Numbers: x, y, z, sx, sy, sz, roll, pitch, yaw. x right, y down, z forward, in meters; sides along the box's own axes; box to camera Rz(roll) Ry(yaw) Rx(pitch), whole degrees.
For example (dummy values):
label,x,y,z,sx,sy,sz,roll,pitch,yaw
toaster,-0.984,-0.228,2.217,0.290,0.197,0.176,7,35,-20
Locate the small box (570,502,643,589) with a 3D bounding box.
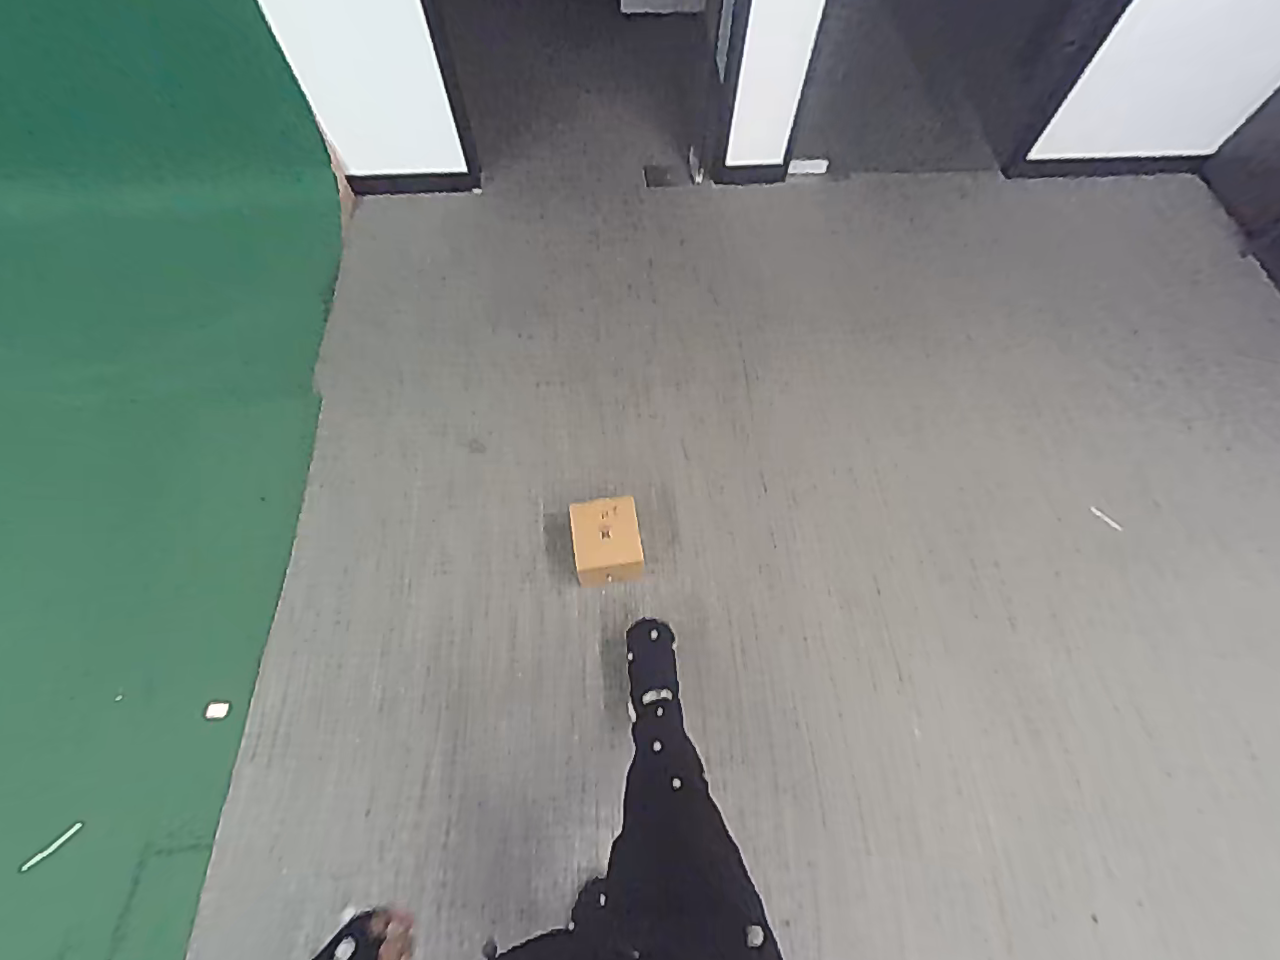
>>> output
label,x,y,z,sx,sy,sz,roll,pitch,yaw
small box,-0.085,0.176,1.399,0.168,0.176,0.179,-8,64,-5
